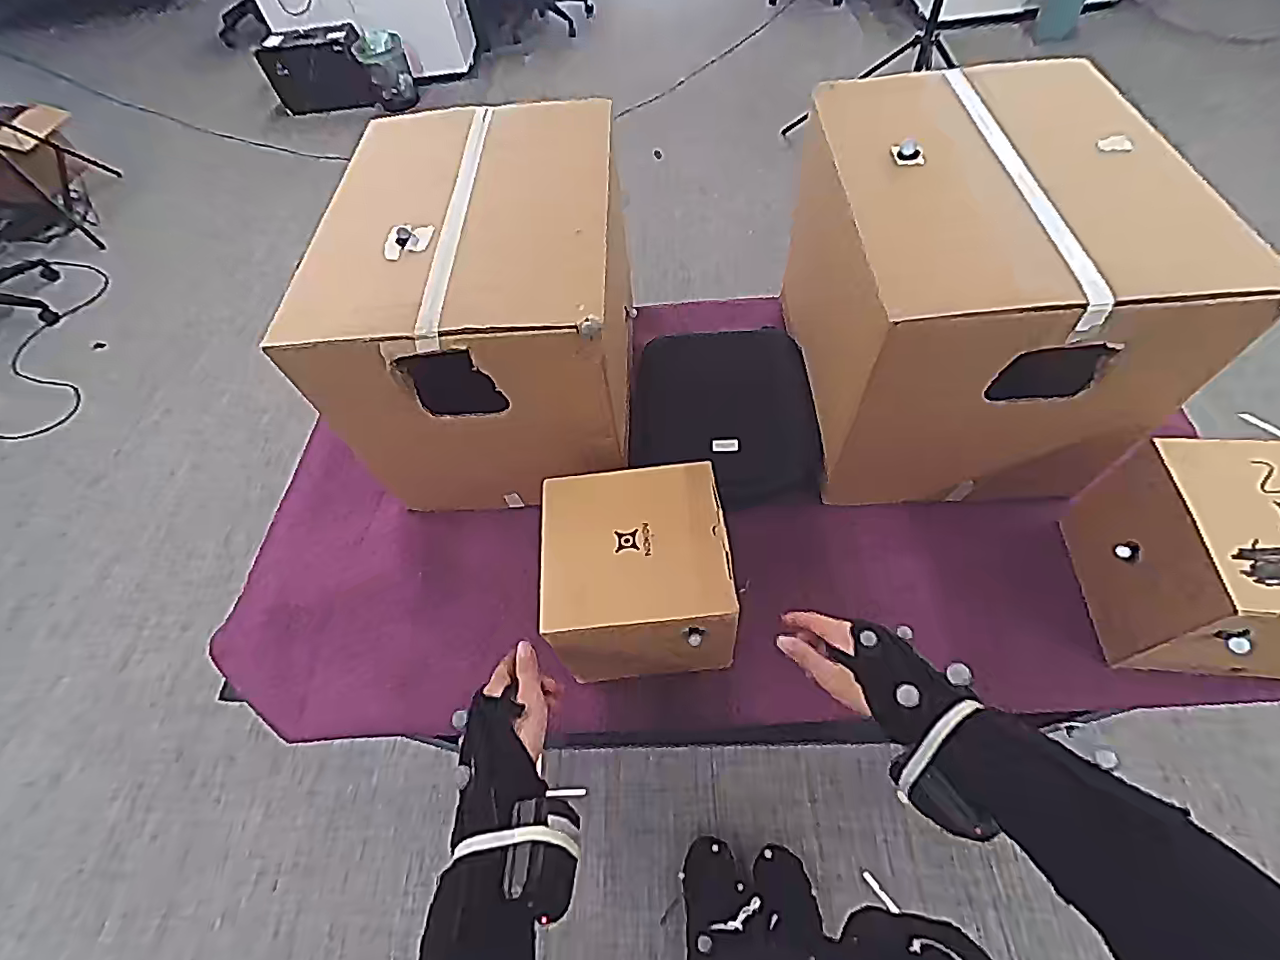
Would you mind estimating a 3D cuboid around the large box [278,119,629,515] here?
[{"bbox_3d":[-0.181,-0.202,0.717,0.320,0.320,0.408,-4,60,4],"label":"large box"}]
